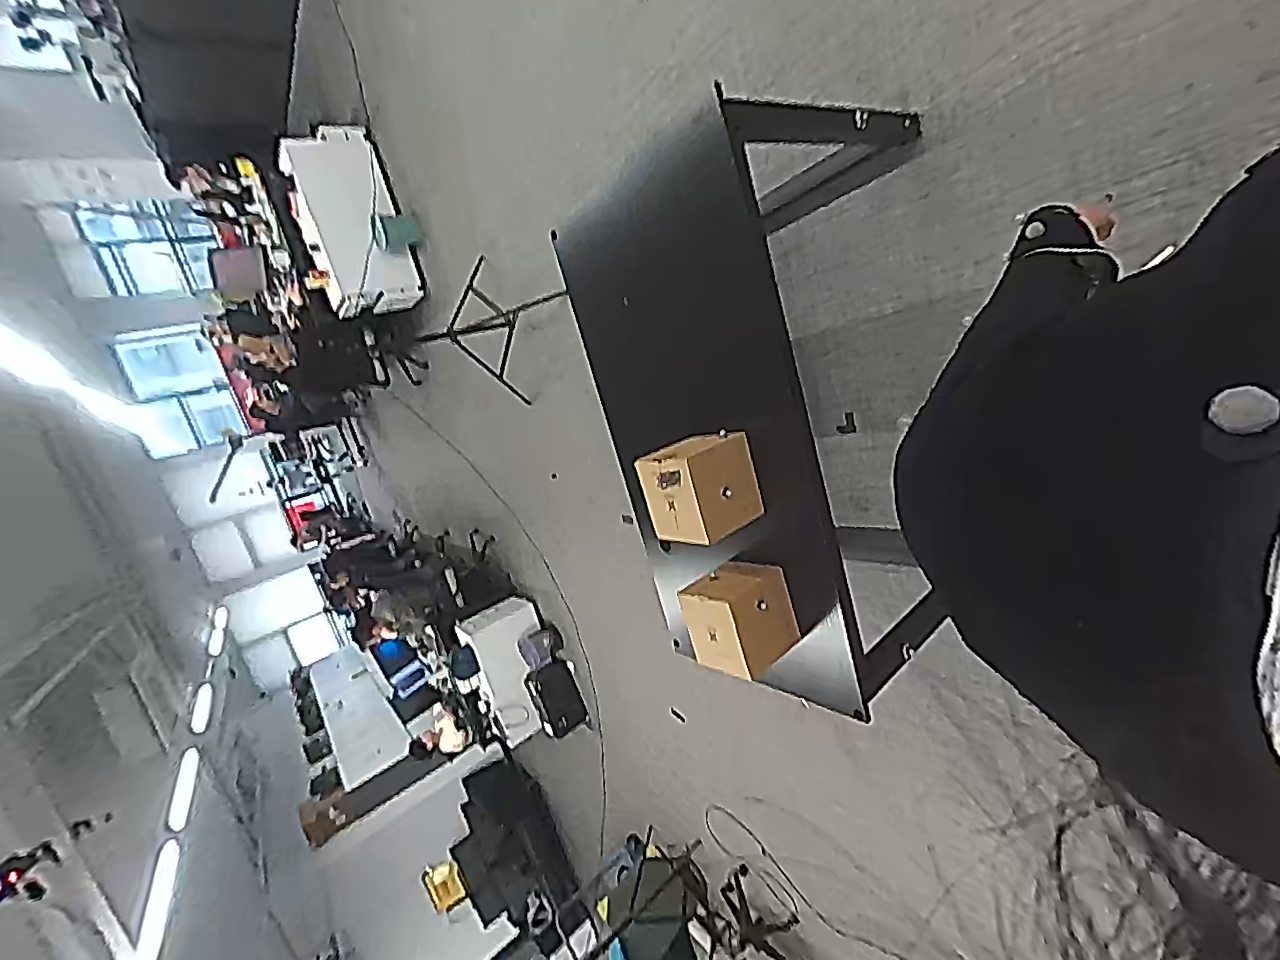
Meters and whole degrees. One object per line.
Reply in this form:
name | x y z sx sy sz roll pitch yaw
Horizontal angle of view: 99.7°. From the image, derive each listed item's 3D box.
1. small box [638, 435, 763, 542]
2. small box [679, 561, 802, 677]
small box | 0.128 0.010 1.118 0.168 0.176 0.179 0 110 55
small box | 0.218 0.287 1.164 0.168 0.176 0.179 -5 106 56
